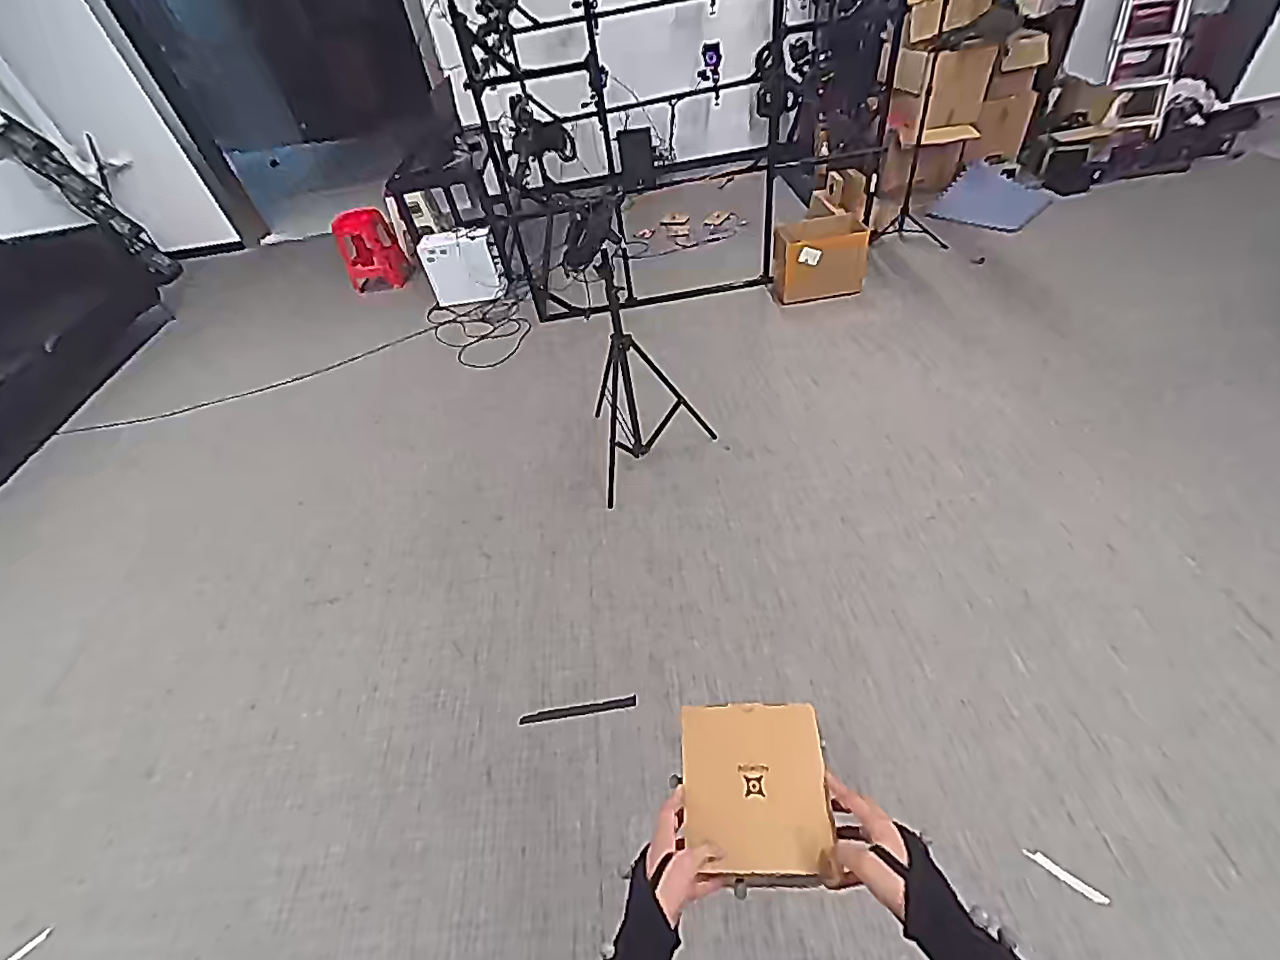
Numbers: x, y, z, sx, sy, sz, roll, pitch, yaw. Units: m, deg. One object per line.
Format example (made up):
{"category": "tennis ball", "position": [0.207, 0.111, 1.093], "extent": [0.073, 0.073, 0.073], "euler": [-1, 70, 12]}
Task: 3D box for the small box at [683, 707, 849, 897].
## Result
{"category": "small box", "position": [0.142, 0.397, 0.663], "extent": [0.168, 0.176, 0.179], "euler": [-4, 48, 4]}
